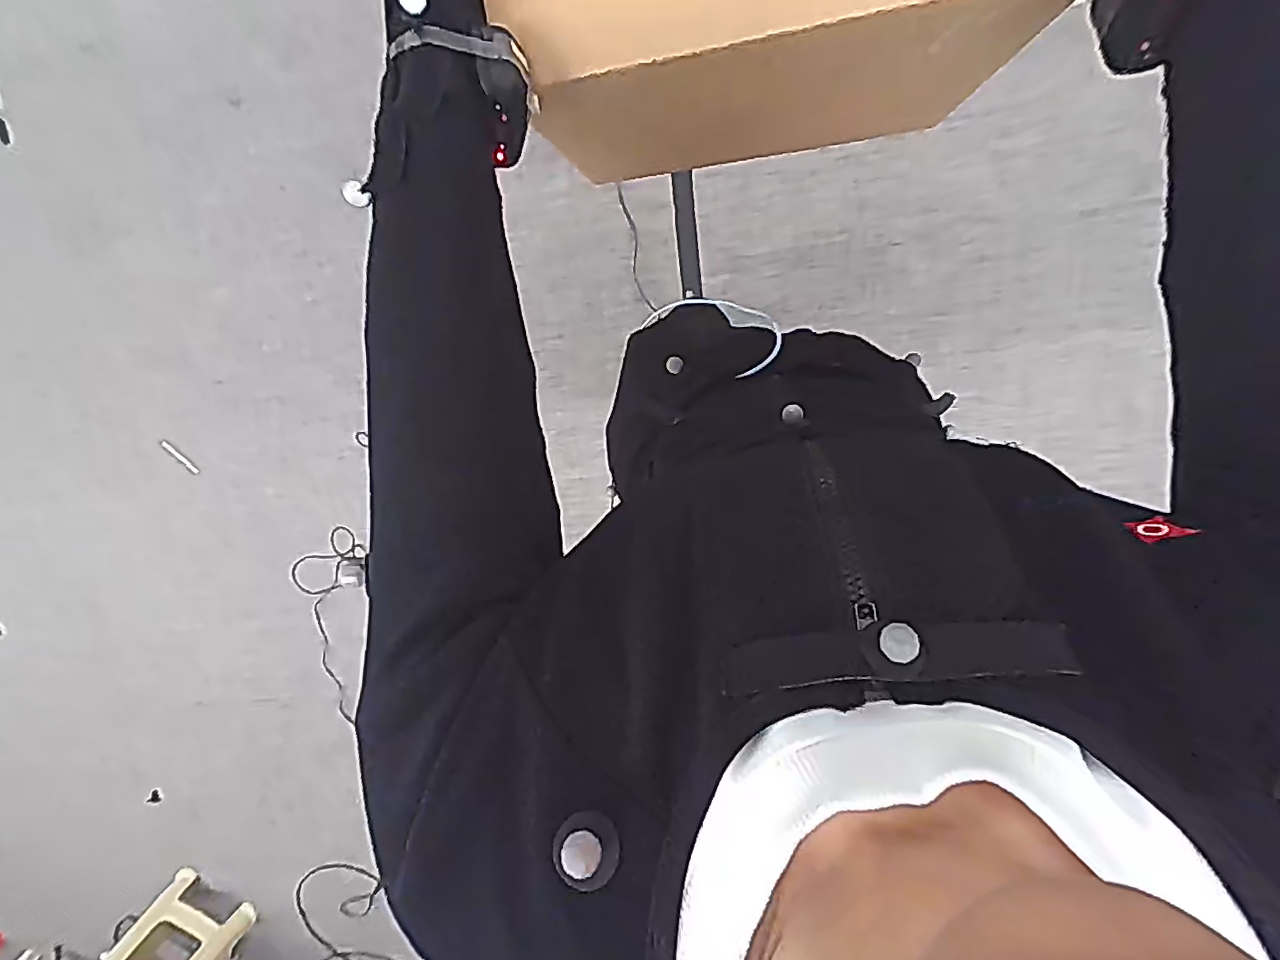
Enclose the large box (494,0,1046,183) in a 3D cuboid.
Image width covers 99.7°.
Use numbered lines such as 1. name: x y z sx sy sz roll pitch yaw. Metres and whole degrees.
1. large box: 0.095 -0.494 0.467 0.408 0.320 0.320 -5 107 10
